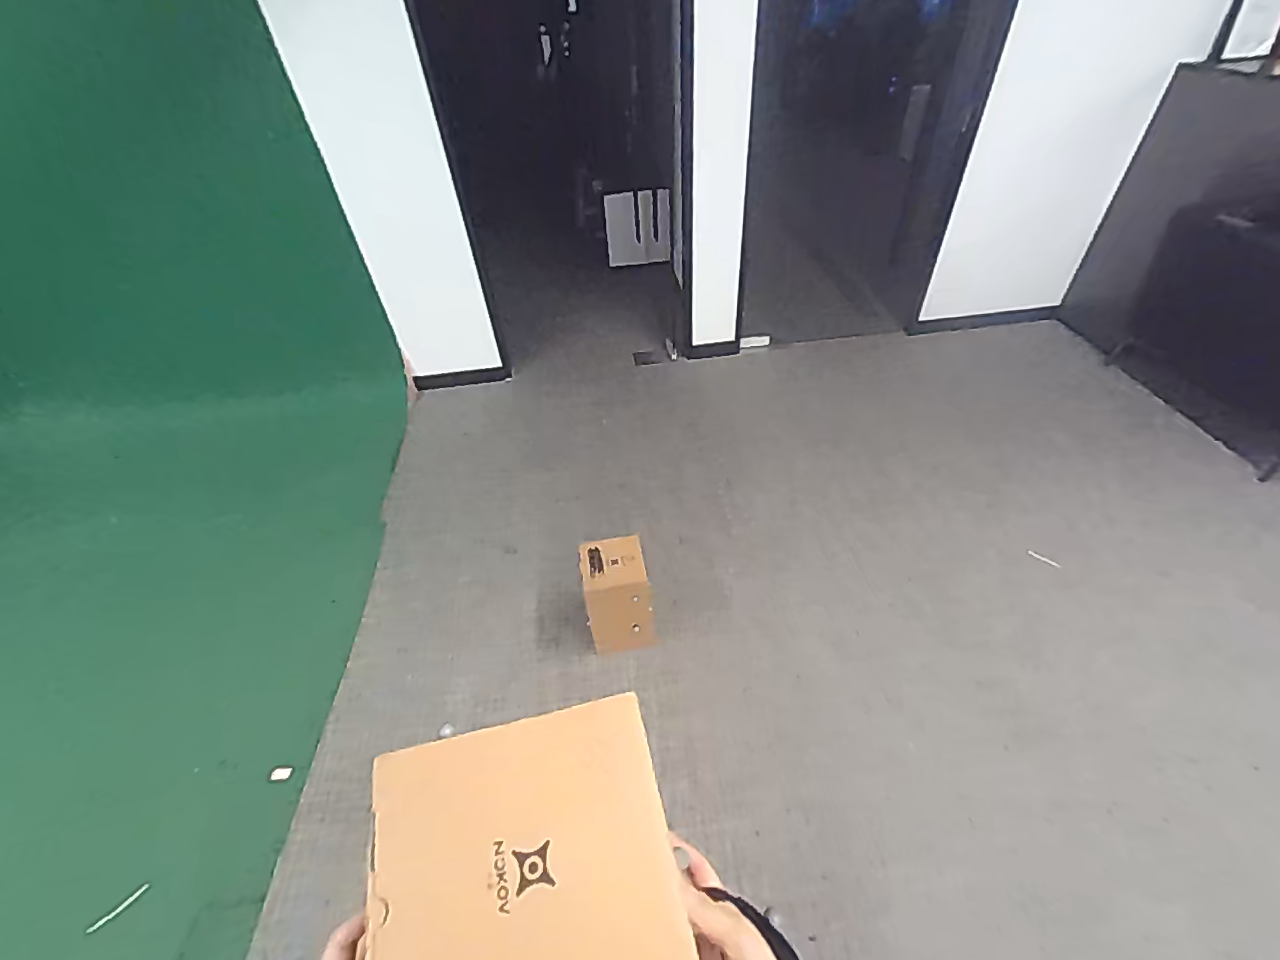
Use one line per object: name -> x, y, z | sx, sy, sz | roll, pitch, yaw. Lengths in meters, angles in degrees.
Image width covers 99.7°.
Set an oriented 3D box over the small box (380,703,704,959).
small box -> -0.066, 0.277, 0.387 | 0.179, 0.176, 0.168 | -11, 58, -9
